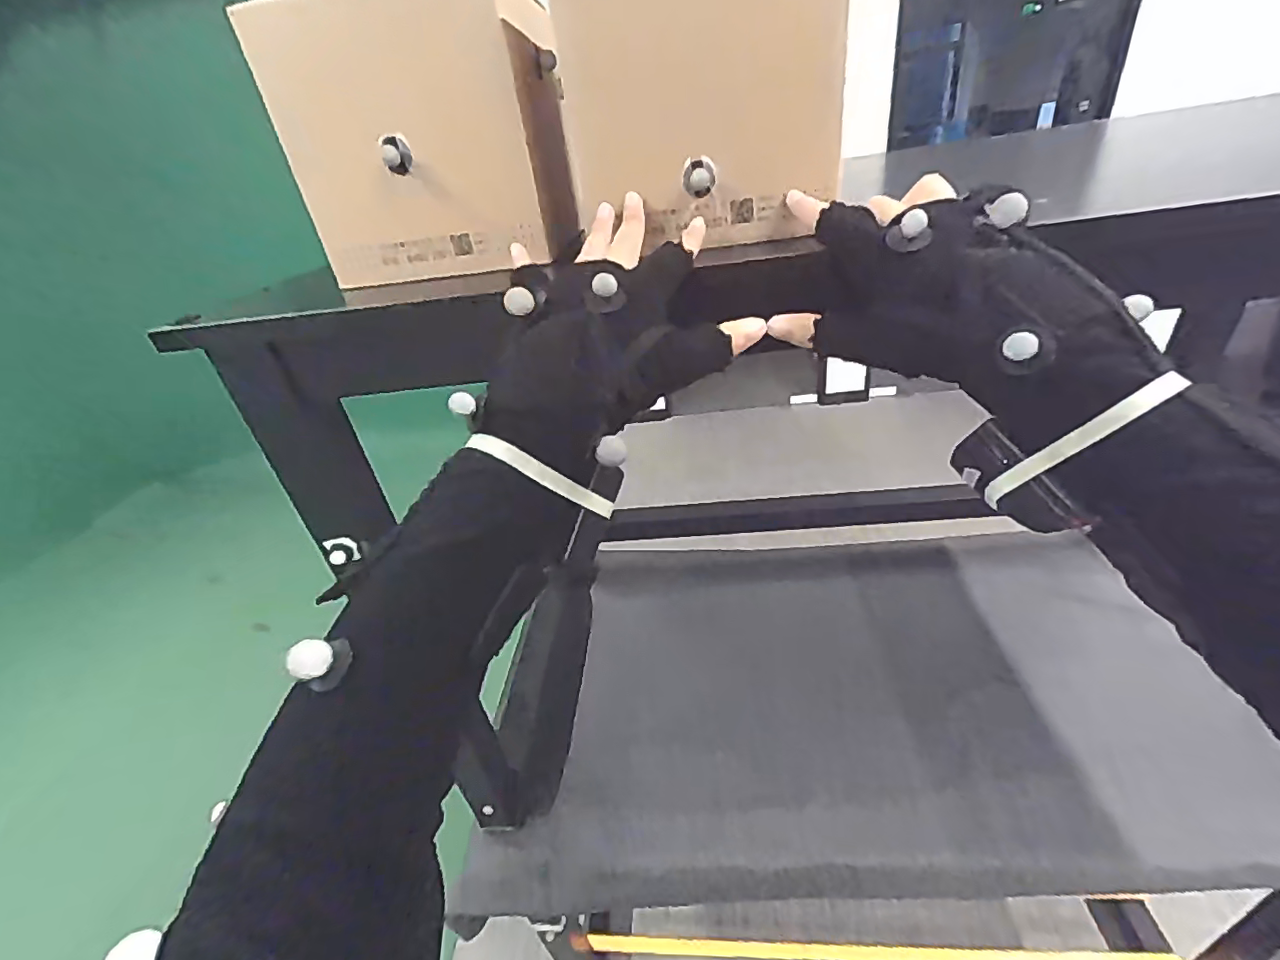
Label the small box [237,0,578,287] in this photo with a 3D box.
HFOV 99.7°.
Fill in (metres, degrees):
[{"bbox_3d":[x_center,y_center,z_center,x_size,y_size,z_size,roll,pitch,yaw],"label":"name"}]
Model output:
[{"bbox_3d":[-0.152,-0.259,0.433,0.168,0.176,0.179,-4,32,7],"label":"small box"}]
